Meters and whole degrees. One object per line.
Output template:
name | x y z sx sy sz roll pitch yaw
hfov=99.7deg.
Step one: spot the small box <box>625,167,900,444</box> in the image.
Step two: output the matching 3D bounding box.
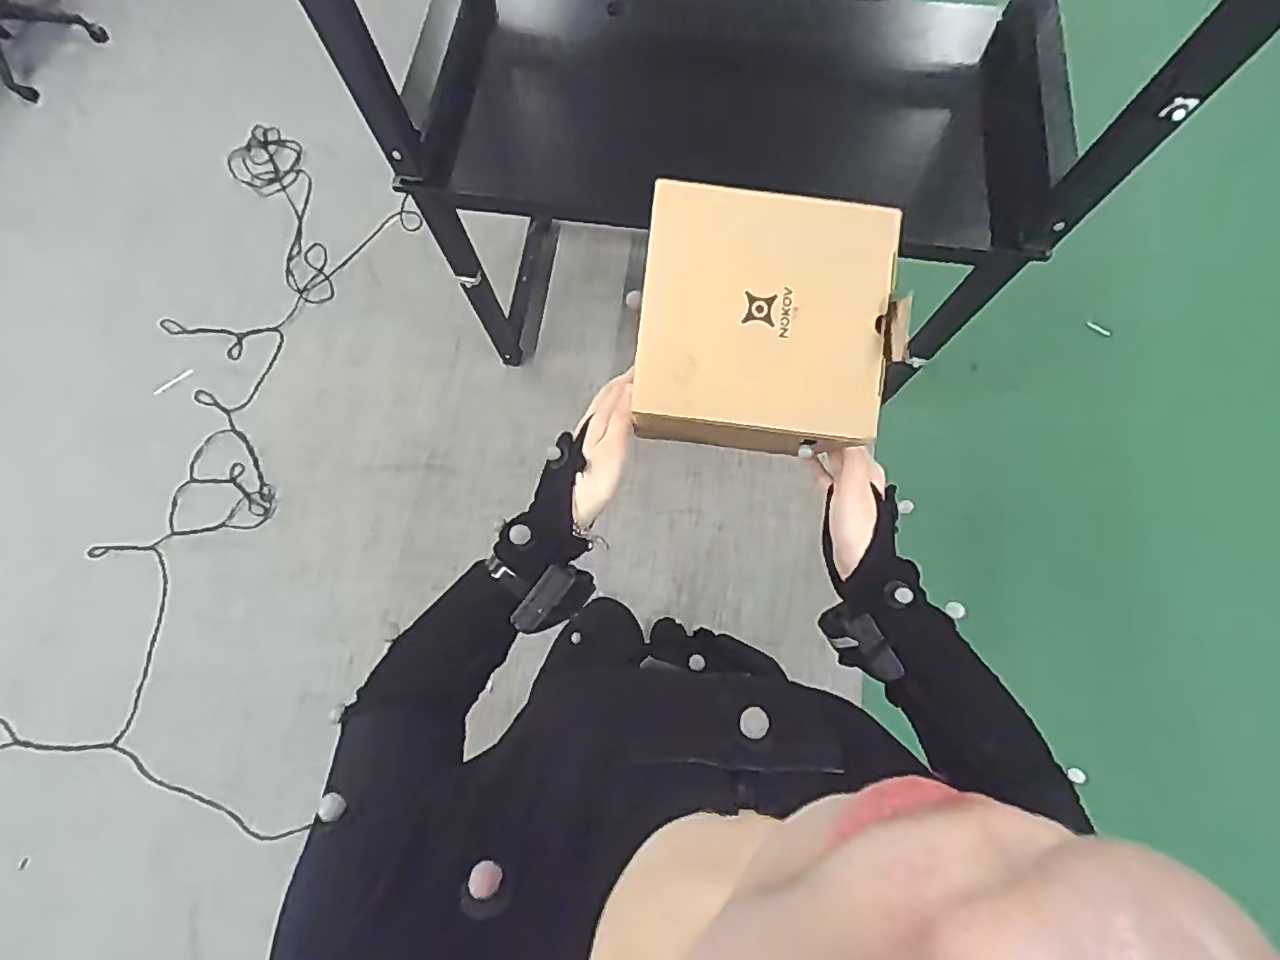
small box | 0.084 -0.125 0.452 0.179 0.176 0.168 7 89 -1
